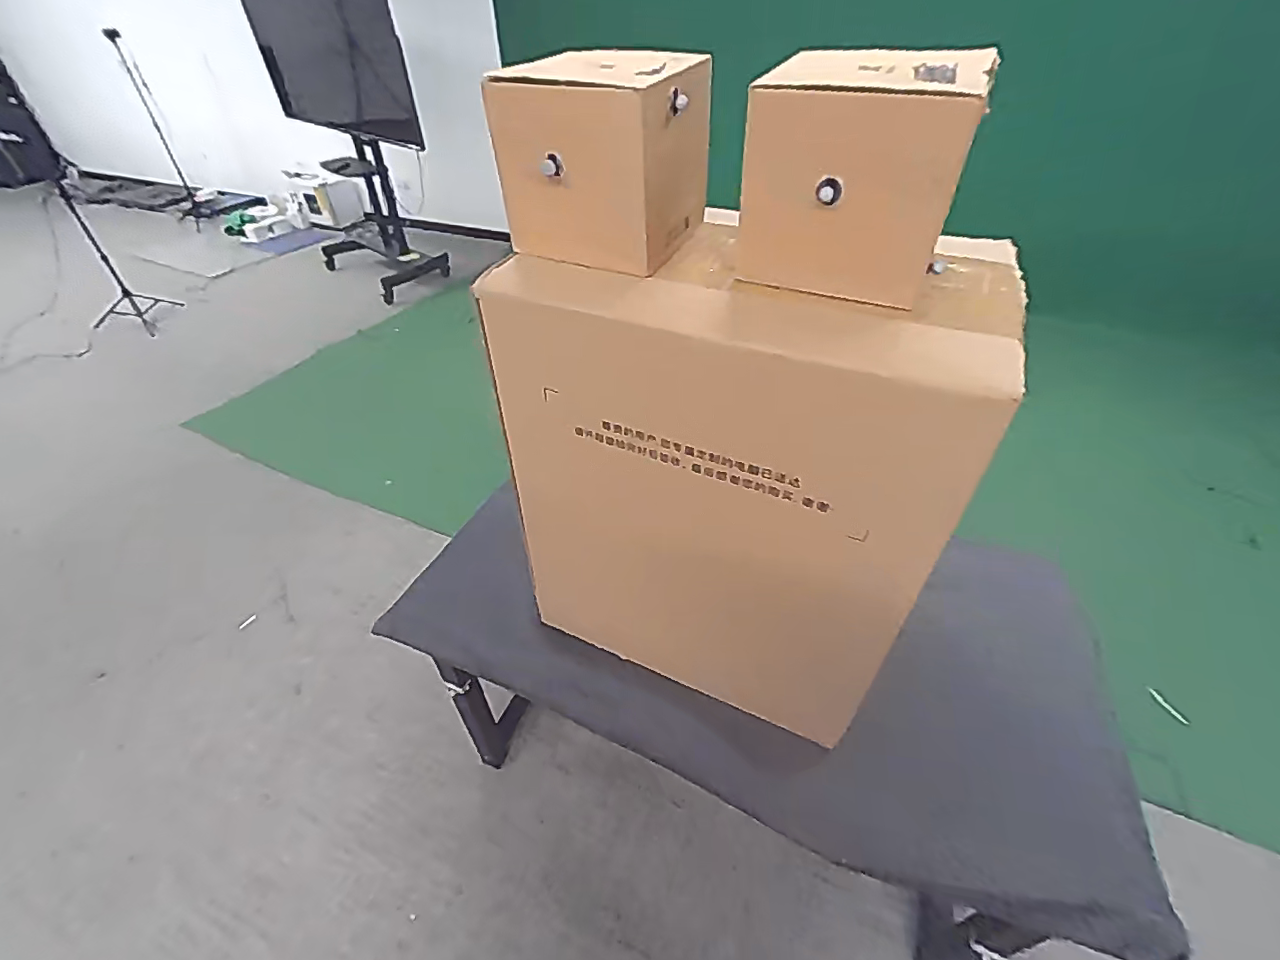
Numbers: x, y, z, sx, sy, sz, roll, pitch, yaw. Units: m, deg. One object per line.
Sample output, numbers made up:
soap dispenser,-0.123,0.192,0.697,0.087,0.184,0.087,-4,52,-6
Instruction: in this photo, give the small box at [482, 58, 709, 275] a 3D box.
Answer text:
small box,-0.037,-0.343,0.591,0.179,0.176,0.168,18,49,20

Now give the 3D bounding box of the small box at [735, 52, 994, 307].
small box,0.203,-0.285,0.516,0.179,0.176,0.168,18,50,21
